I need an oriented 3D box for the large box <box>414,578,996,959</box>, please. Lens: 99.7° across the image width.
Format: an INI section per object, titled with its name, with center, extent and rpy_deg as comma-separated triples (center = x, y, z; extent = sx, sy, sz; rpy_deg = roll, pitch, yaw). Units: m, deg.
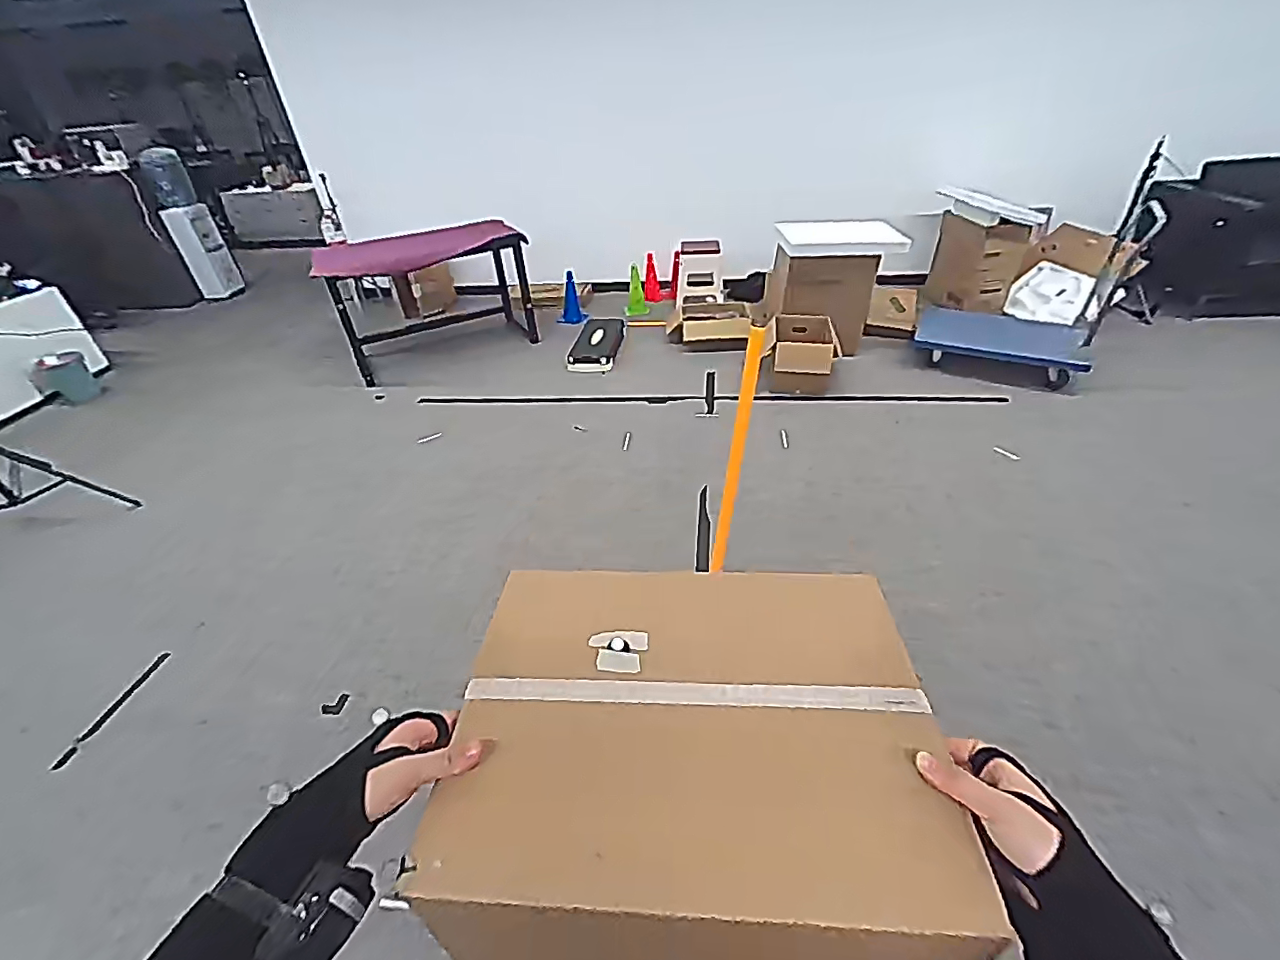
[large box]
center = 0.057, 0.324, 0.571
extent = 0.408, 0.320, 0.320
rpy_deg = -2, 34, 6
